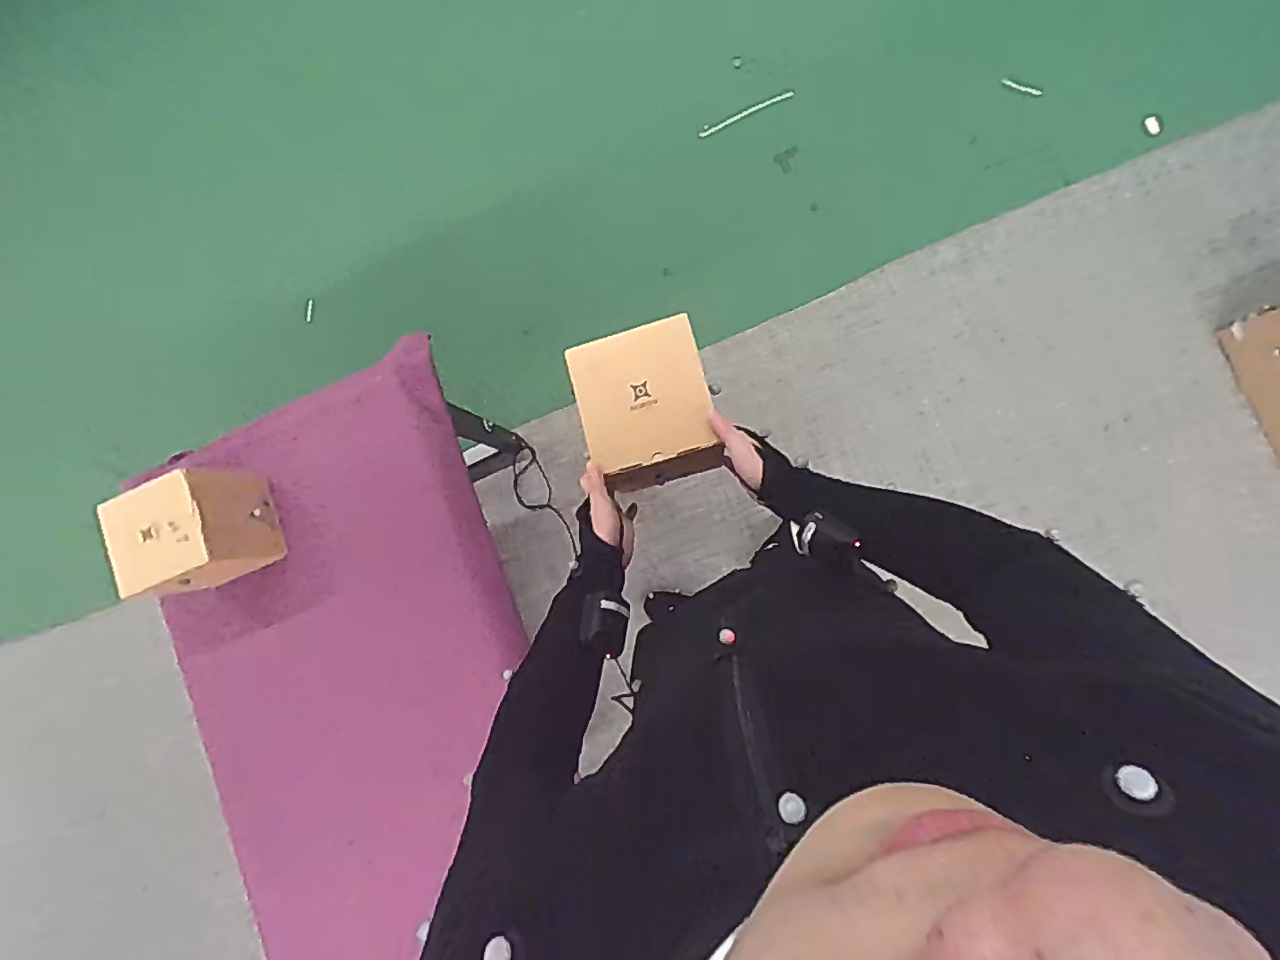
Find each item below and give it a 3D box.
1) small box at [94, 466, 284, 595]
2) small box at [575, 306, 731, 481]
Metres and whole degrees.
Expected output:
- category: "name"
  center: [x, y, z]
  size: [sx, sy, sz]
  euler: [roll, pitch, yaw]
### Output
- category: "small box"
  center: [-0.784, 0.088, 0.955]
  size: [0.179, 0.176, 0.168]
  euler: [-22, 85, 5]
- category: "small box"
  center: [0.021, -0.108, 0.748]
  size: [0.168, 0.176, 0.179]
  euler: [-15, 83, 5]
